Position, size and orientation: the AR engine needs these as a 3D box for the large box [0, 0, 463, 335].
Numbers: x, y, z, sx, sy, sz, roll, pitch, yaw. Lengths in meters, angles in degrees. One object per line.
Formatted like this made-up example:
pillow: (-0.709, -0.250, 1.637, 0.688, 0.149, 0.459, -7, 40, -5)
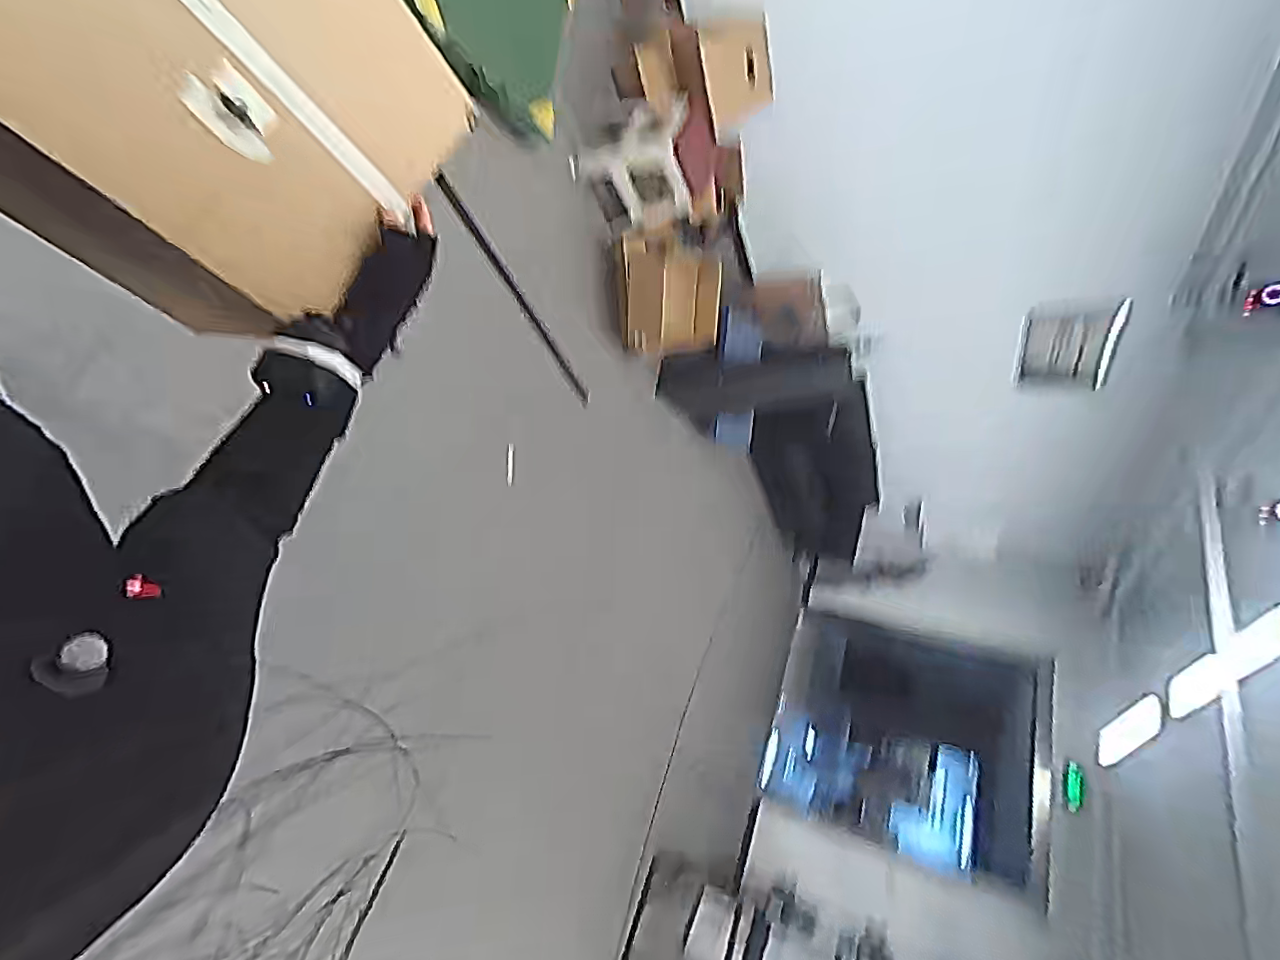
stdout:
large box: (-0.457, -0.378, 0.474, 0.408, 0.320, 0.320, 46, 64, -52)
